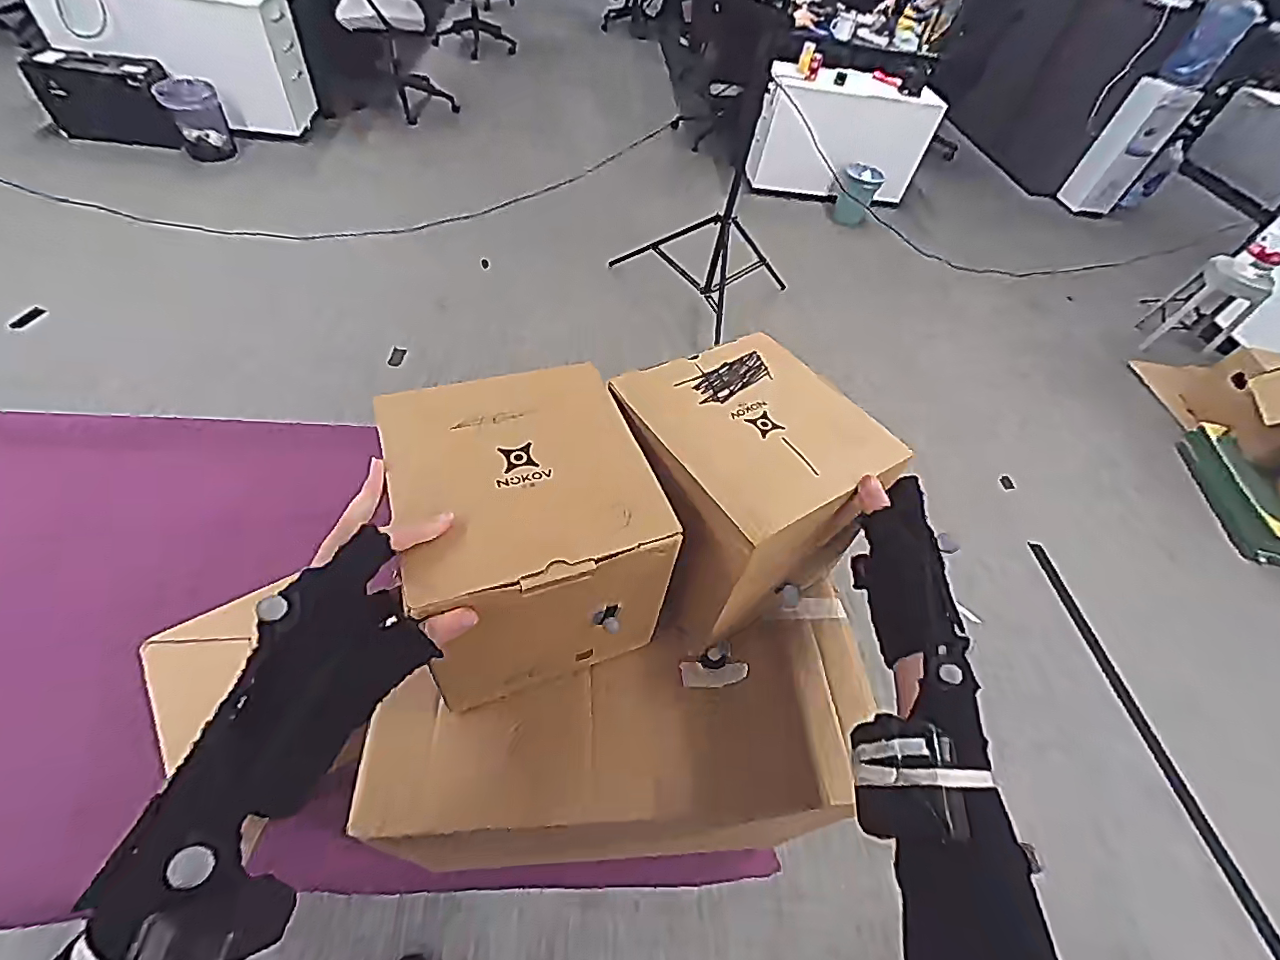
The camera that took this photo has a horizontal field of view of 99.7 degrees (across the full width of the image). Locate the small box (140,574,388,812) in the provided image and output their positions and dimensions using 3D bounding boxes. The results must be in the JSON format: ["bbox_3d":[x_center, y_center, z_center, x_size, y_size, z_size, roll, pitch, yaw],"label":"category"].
[{"bbox_3d":[-0.393,0.230,0.602,0.179,0.176,0.168,-26,59,-25],"label":"small box"}]

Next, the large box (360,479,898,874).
[{"bbox_3d":[-0.026,0.213,0.594,0.408,0.320,0.320,1,51,-8],"label":"large box"}]
